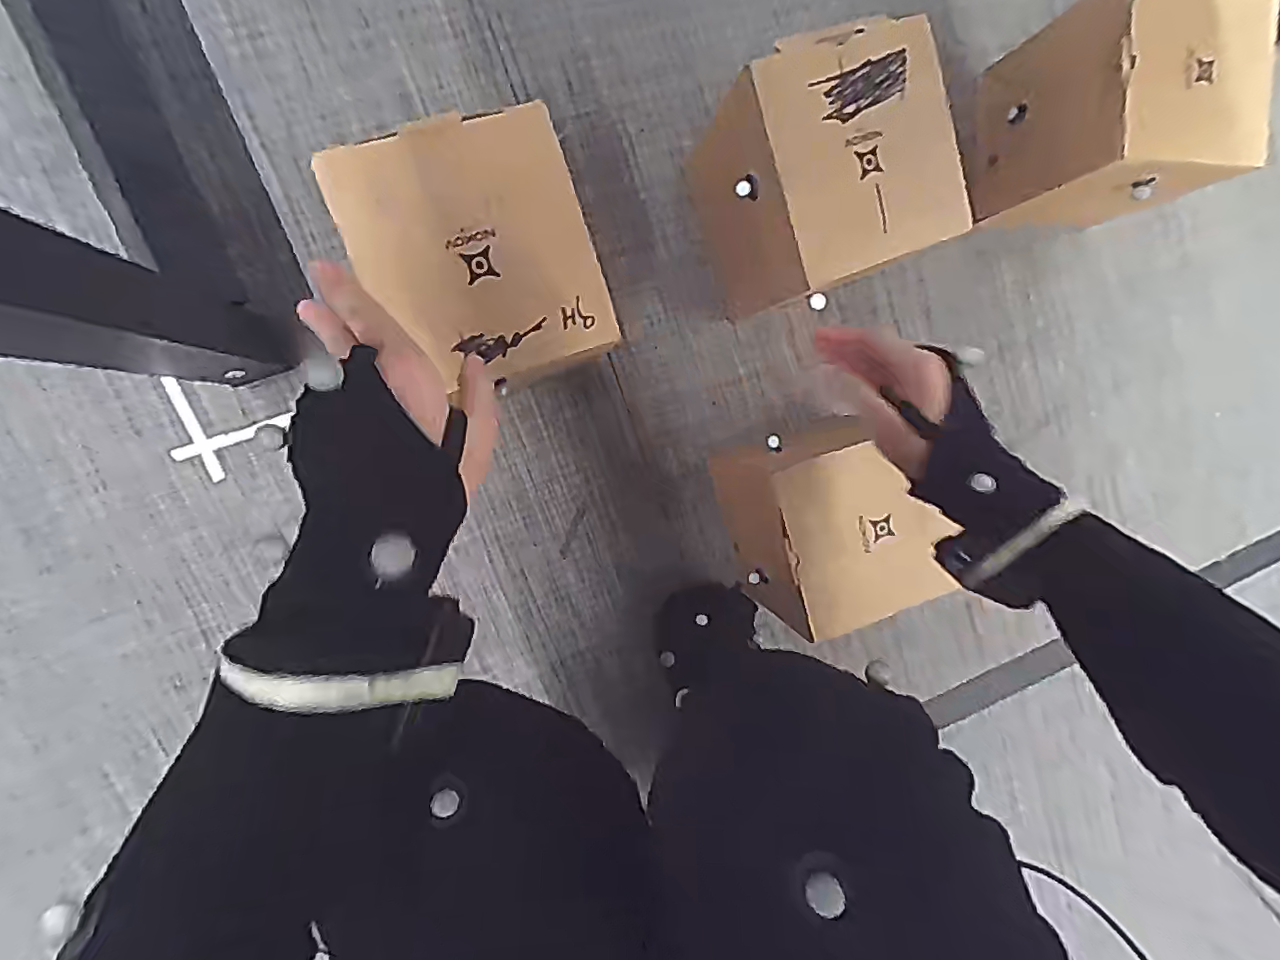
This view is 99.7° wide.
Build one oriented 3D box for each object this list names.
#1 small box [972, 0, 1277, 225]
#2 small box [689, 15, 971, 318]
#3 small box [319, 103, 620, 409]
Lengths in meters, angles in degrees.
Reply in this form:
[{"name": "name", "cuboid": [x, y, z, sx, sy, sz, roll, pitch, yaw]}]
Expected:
[{"name": "small box", "cuboid": [0.496, -0.385, 0.575, 0.179, 0.176, 0.168, -4, 97, -11]}, {"name": "small box", "cuboid": [0.163, -0.274, 0.512, 0.168, 0.176, 0.179, -22, 101, -9]}, {"name": "small box", "cuboid": [-0.131, -0.169, 0.460, 0.168, 0.176, 0.179, -19, 98, -10]}]
